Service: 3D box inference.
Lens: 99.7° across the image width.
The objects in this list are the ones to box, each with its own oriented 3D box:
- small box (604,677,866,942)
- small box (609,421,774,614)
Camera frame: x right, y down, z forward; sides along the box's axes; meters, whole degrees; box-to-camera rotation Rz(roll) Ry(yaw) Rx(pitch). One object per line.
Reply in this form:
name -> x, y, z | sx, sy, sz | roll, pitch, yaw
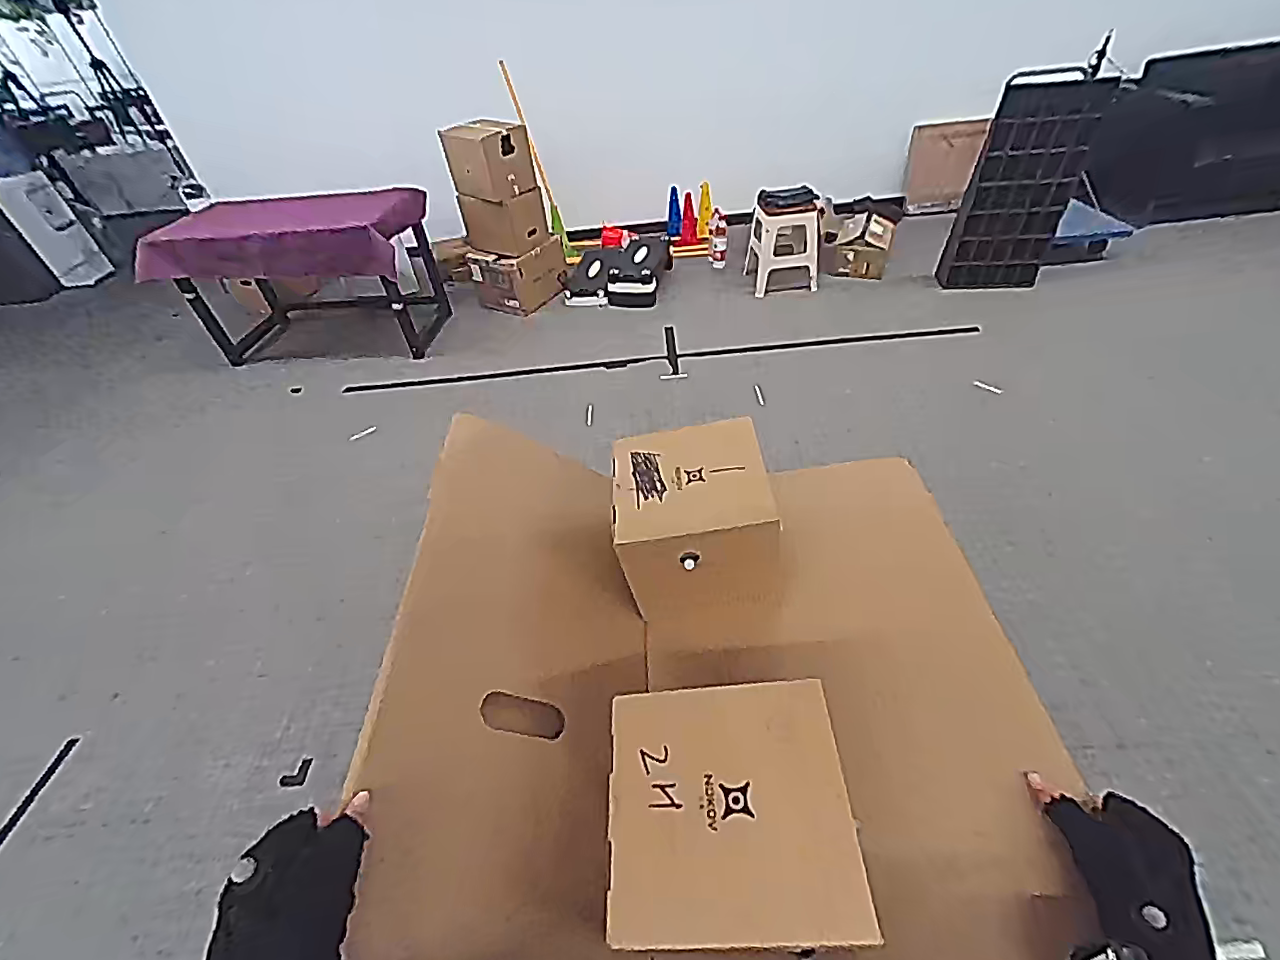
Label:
small box -> 0.076, 0.287, 0.468 | 0.179, 0.176, 0.168 | -8, 47, 9
small box -> 0.066, 0.054, 0.686 | 0.179, 0.176, 0.168 | -10, 47, 6
